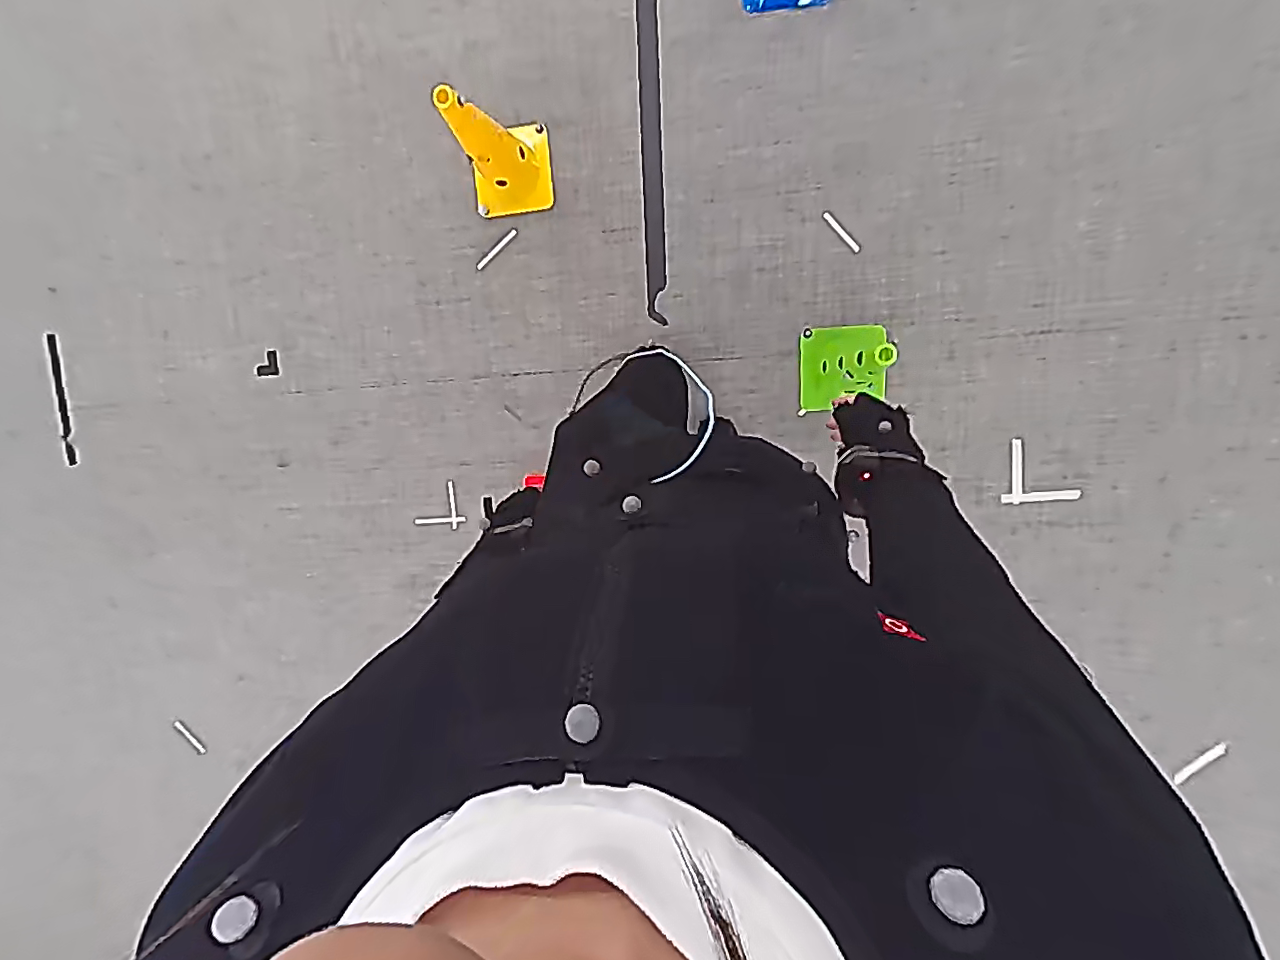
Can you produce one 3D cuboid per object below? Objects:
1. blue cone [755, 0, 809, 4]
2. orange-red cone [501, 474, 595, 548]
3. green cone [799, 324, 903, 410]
[{"bbox_3d":[0.319,-1.150,1.049,0.192,0.380,0.193,2,99,7],"label":"blue cone"},{"bbox_3d":[-0.249,0.104,1.303,0.199,0.360,0.198,3,97,9],"label":"orange-red cone"},{"bbox_3d":[0.468,-0.248,1.145,0.202,0.368,0.200,-1,98,7],"label":"green cone"}]
